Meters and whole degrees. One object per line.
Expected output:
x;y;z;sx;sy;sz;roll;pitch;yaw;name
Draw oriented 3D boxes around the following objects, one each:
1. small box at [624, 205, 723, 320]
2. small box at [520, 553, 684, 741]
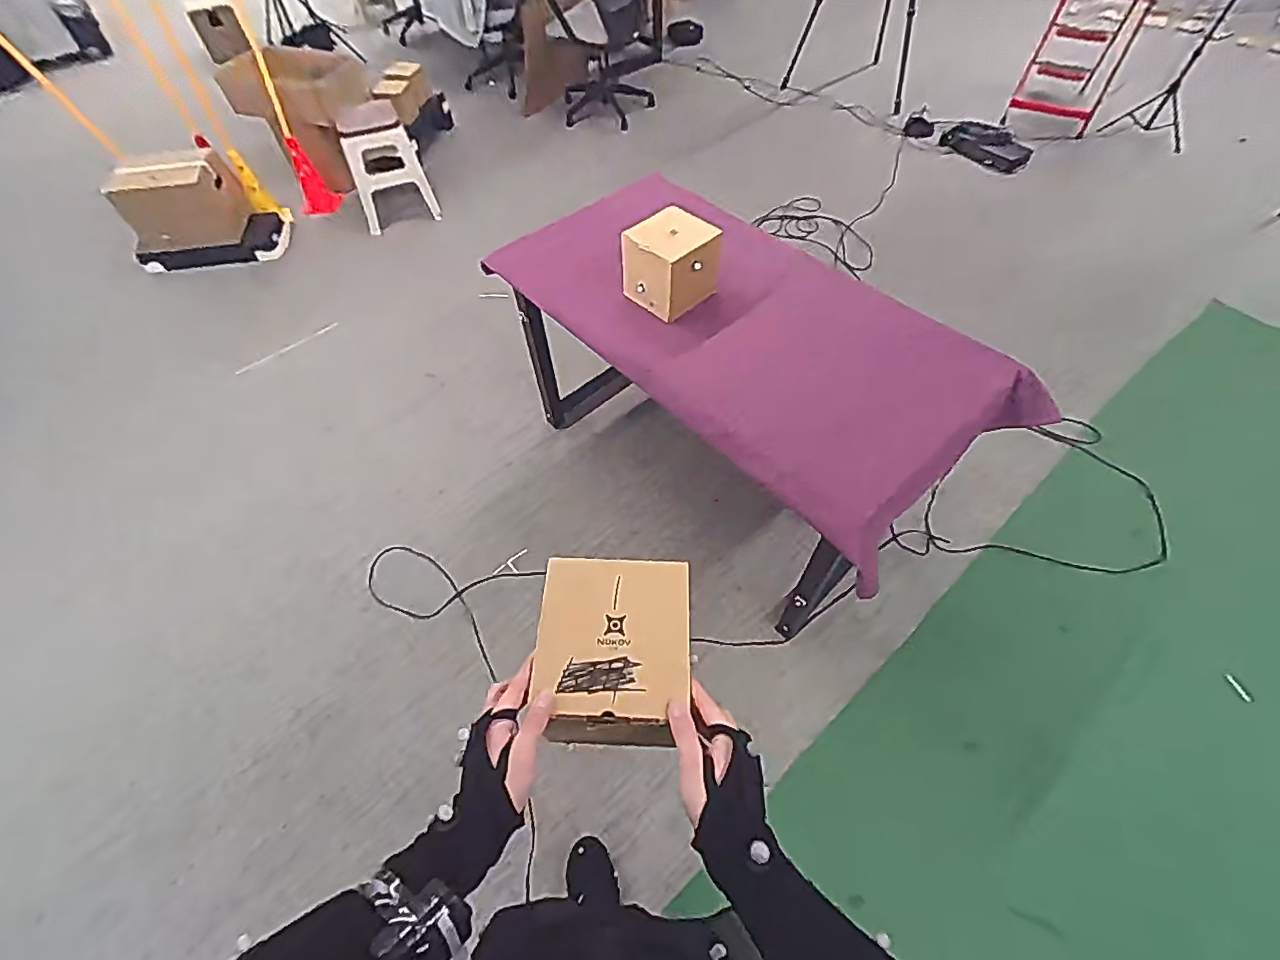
0.077;-0.528;1.319;0.179;0.176;0.168;-39;64;-22;small box
-0.034;0.205;0.648;0.168;0.176;0.179;2;55;1;small box
